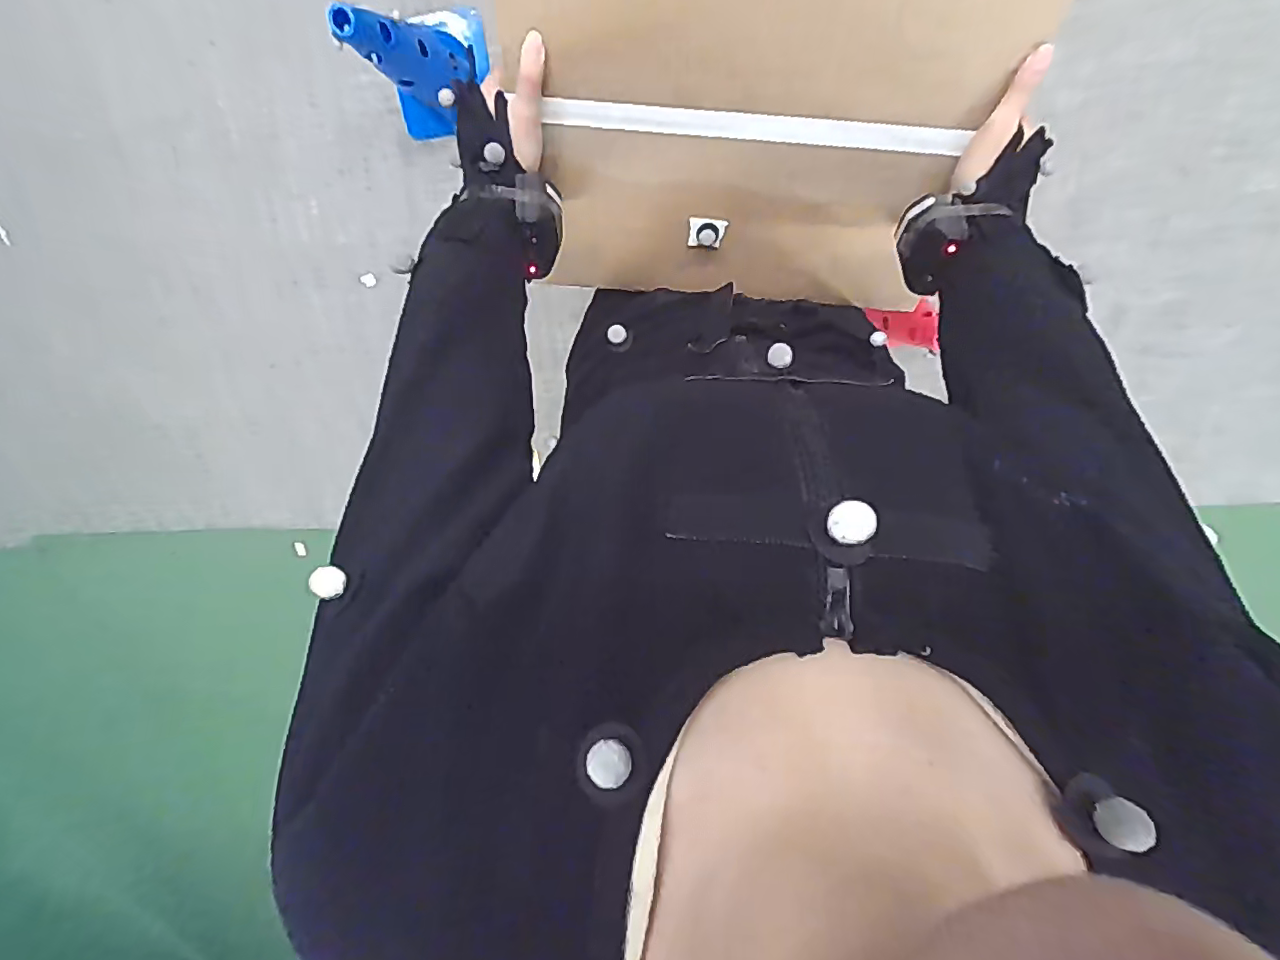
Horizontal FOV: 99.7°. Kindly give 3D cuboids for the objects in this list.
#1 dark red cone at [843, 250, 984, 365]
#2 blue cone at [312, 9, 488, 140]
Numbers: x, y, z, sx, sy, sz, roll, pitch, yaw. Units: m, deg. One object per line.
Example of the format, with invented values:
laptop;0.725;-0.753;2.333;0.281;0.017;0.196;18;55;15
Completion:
dark red cone;0.519;-0.287;1.000;0.202;0.394;0.201;-8;117;10
blue cone;-0.419;-0.728;0.931;0.192;0.380;0.193;-1;115;7
